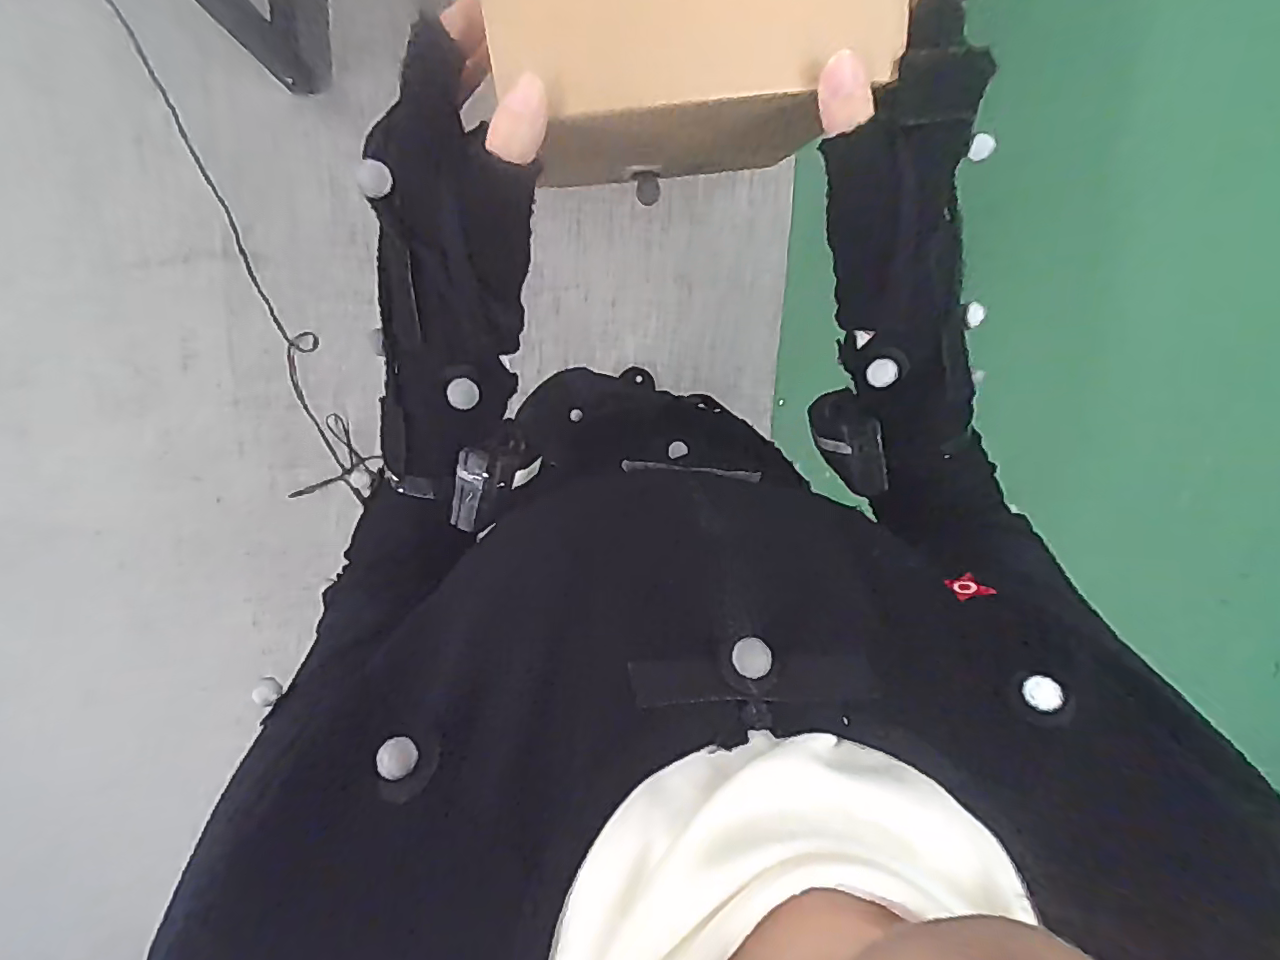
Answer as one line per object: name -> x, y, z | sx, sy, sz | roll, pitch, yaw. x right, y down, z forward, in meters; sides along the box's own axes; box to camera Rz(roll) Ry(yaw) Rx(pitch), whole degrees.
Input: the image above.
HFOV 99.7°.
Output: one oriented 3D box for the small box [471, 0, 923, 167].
small box -> 0.008, -0.263, 0.243 | 0.168, 0.176, 0.179 | -8, 111, -2
